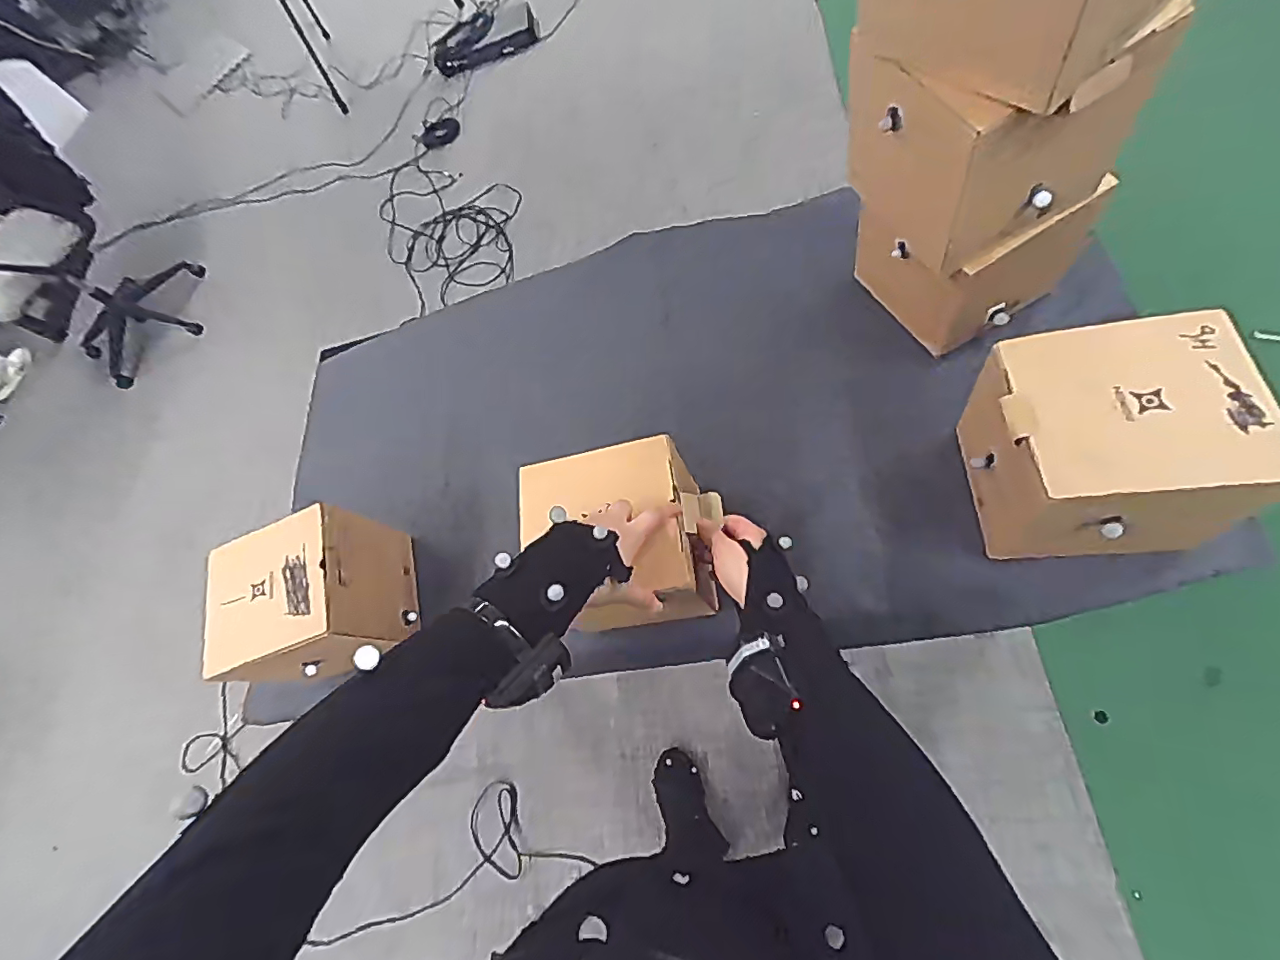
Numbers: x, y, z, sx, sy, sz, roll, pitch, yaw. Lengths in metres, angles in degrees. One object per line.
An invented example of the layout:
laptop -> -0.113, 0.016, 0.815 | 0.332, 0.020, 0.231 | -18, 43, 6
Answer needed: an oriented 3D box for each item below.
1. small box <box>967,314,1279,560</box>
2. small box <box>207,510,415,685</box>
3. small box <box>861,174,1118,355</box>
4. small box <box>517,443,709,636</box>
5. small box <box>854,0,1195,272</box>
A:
small box -> 0.434, -0.026, 0.517 | 0.179, 0.176, 0.168 | -6, 64, 16
small box -> -0.420, 0.161, 0.716 | 0.179, 0.176, 0.168 | -22, 65, 9
small box -> 0.383, -0.284, 0.639 | 0.168, 0.176, 0.179 | -33, 65, 6
small box -> -0.025, 0.080, 0.628 | 0.179, 0.176, 0.168 | -10, 64, 11
small box -> 0.313, -0.334, 0.496 | 0.168, 0.176, 0.179 | -29, 64, 8
